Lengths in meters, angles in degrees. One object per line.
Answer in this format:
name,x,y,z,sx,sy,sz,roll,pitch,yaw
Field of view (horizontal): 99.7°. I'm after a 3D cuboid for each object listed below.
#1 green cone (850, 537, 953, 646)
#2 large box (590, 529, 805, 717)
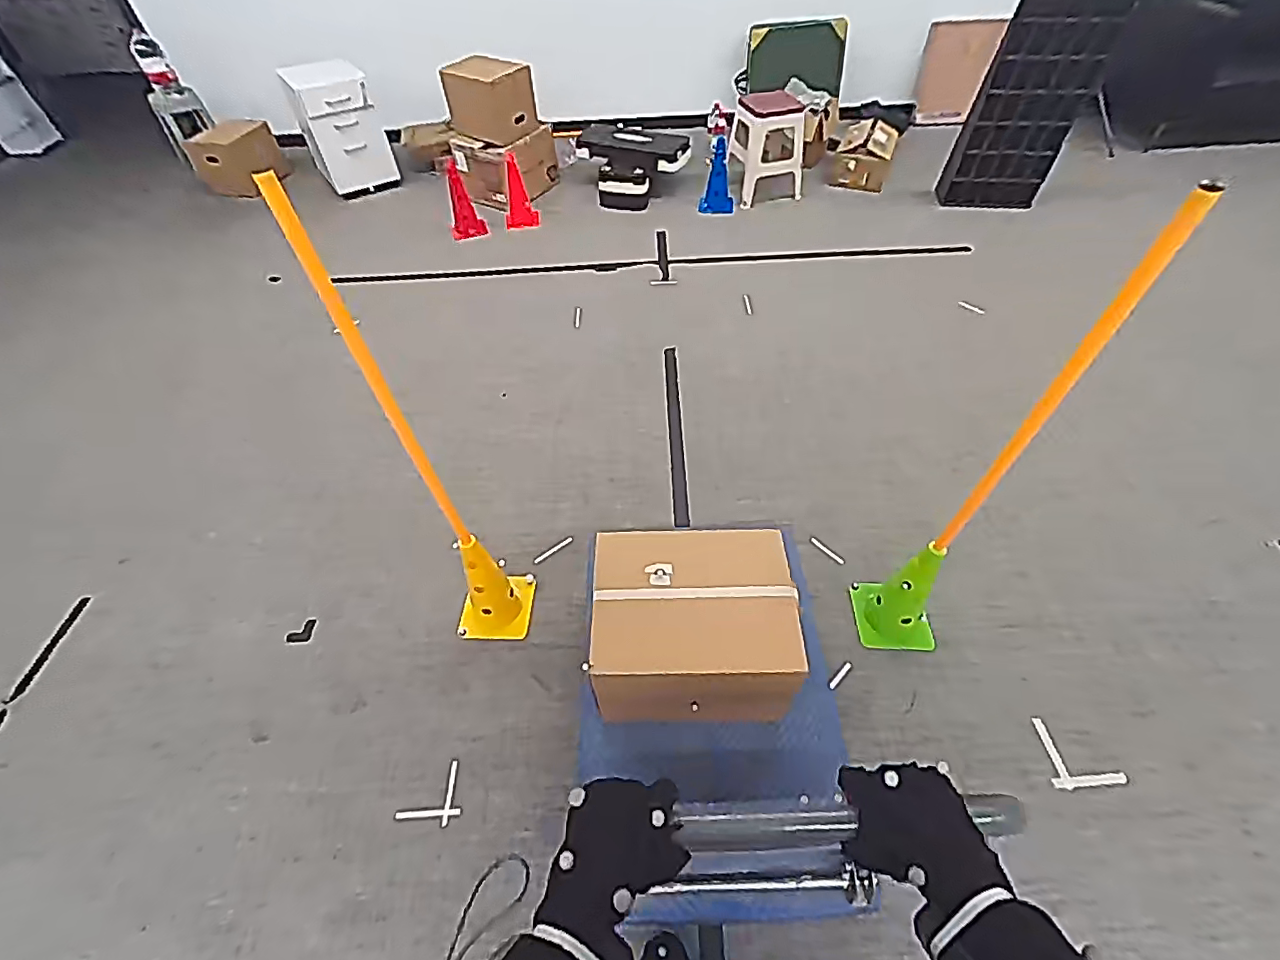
green cone,0.712,0.267,1.408,0.202,0.368,0.200,1,51,2
large box,0.113,0.326,1.202,0.408,0.320,0.320,-2,51,2
